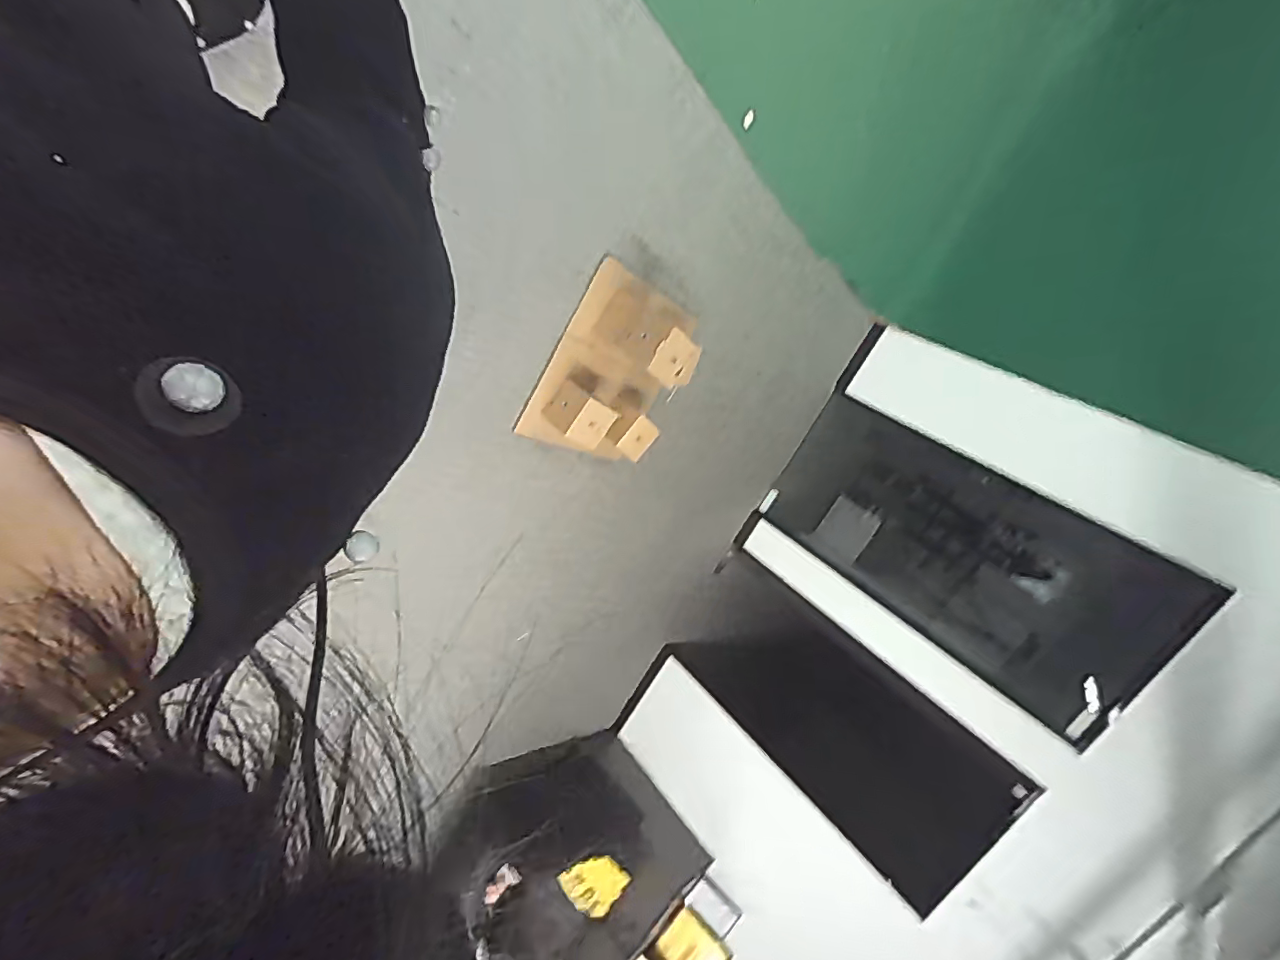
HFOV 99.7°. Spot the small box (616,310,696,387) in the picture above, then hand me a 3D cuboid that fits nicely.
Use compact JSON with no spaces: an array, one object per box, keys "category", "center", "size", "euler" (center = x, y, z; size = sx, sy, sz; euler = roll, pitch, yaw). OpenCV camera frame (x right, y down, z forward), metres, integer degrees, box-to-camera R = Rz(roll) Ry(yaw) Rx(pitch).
[{"category":"small box","center":[0.049,-0.448,1.819],"size":[0.168,0.176,0.179],"euler":[-53,145,6]}]

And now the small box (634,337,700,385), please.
[{"category":"small box","center":[0.099,-0.494,2.123],"size":[0.168,0.176,0.179],"euler":[-5,127,-46]}]

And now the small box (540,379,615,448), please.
[{"category":"small box","center":[-0.231,-0.246,1.977],"size":[0.168,0.176,0.179],"euler":[-54,146,7]}]
